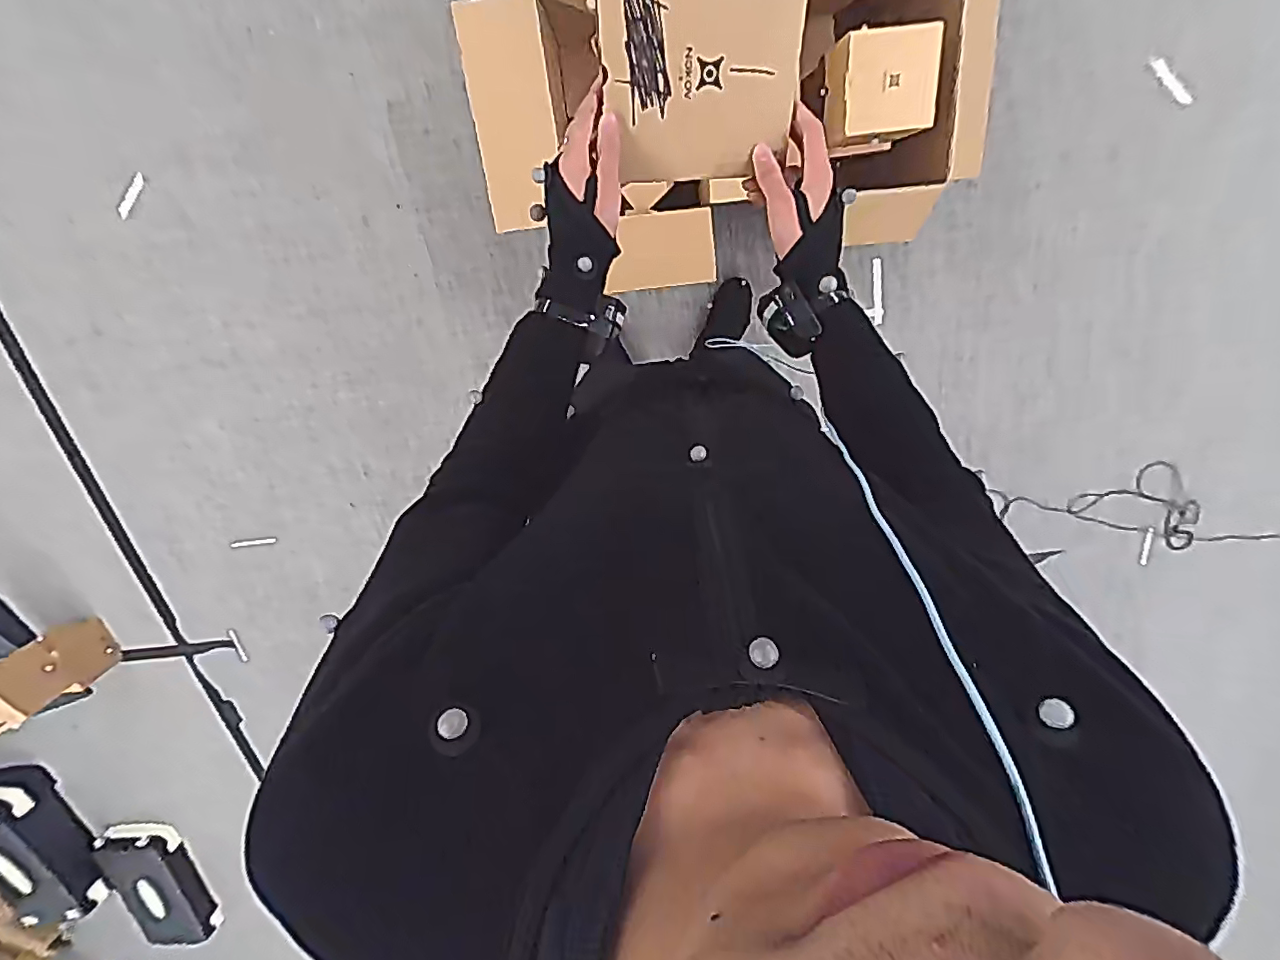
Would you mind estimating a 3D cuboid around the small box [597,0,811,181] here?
[{"bbox_3d":[0.051,-0.400,0.529,0.179,0.176,0.168,-1,129,-1],"label":"small box"}]

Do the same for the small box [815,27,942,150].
[{"bbox_3d":[0.470,-0.778,1.090,0.179,0.176,0.168,-5,114,2],"label":"small box"}]
